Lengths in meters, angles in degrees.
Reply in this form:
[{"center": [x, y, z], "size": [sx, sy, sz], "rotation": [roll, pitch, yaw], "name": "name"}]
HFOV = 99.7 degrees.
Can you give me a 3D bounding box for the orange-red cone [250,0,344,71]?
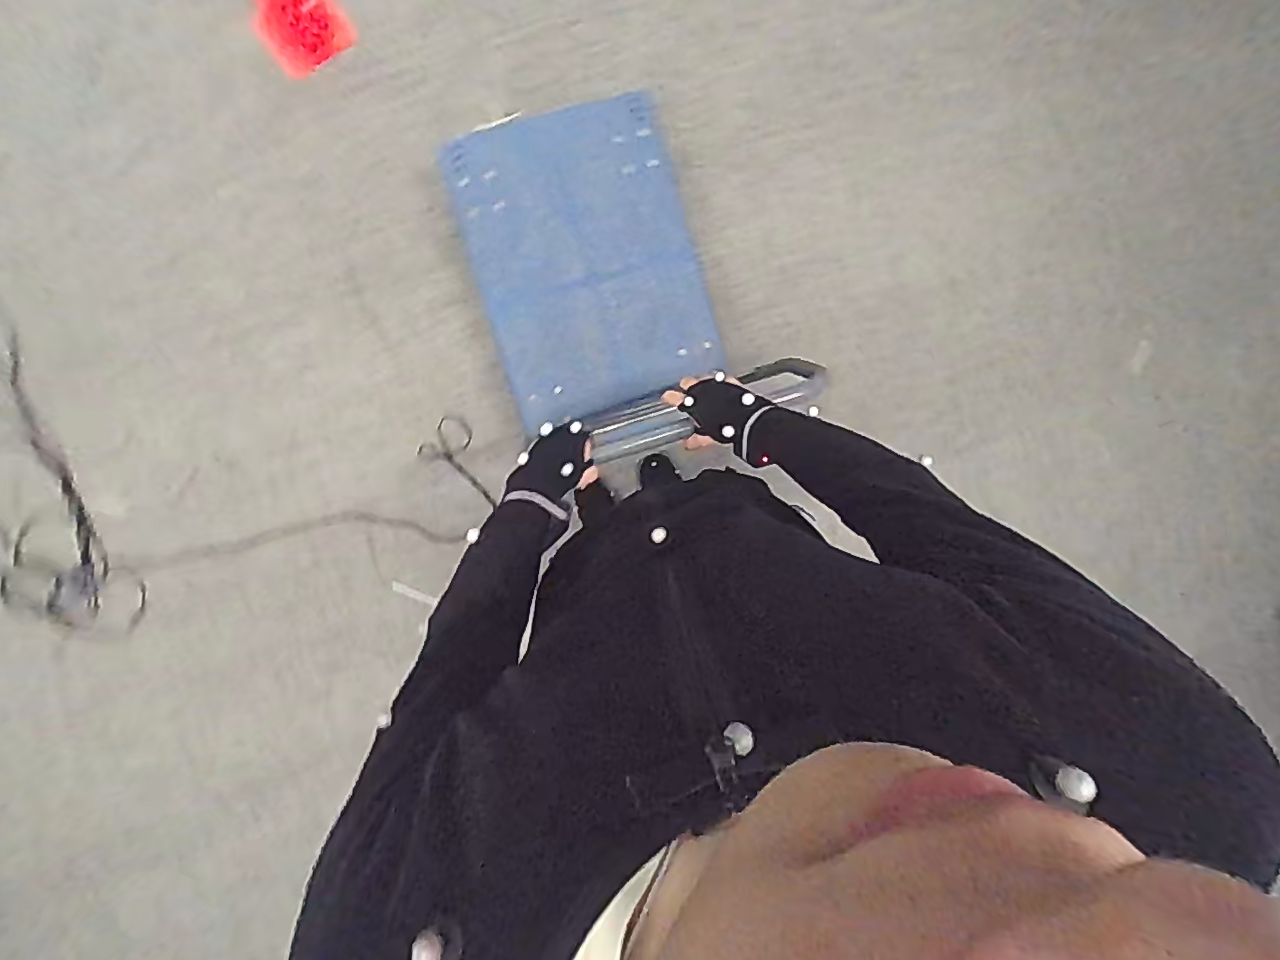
[{"center": [-0.940, -1.249, 1.327], "size": [0.199, 0.360, 0.198], "rotation": [-35, 94, 0], "name": "orange-red cone"}]
